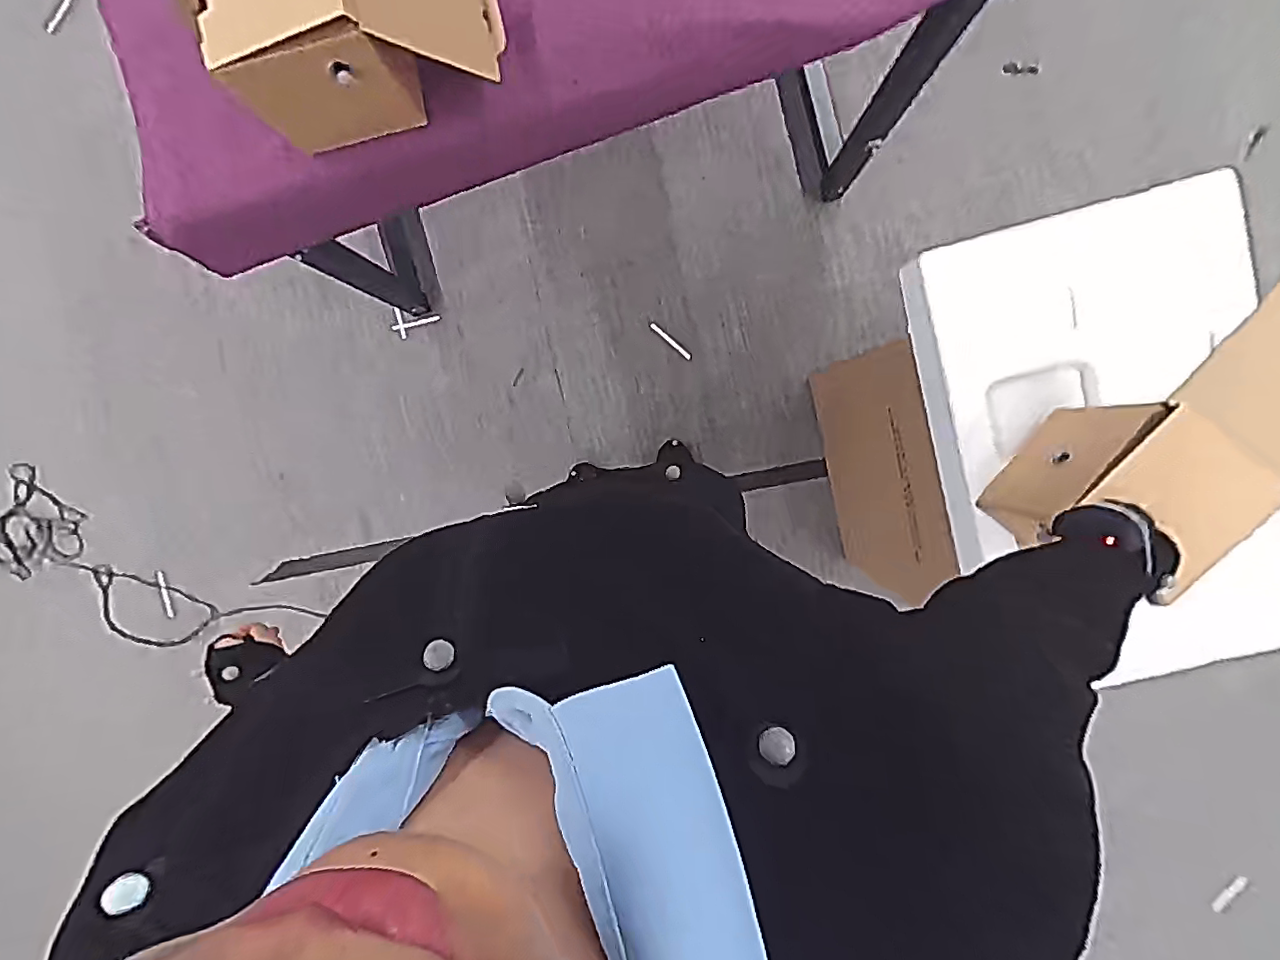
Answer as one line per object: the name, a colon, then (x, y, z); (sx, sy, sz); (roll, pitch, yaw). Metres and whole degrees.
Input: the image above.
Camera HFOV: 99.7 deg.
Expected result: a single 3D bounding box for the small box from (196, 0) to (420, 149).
small box: (-0.388, -0.540, 0.651); (0.179, 0.176, 0.168); (-12, 92, 3)
